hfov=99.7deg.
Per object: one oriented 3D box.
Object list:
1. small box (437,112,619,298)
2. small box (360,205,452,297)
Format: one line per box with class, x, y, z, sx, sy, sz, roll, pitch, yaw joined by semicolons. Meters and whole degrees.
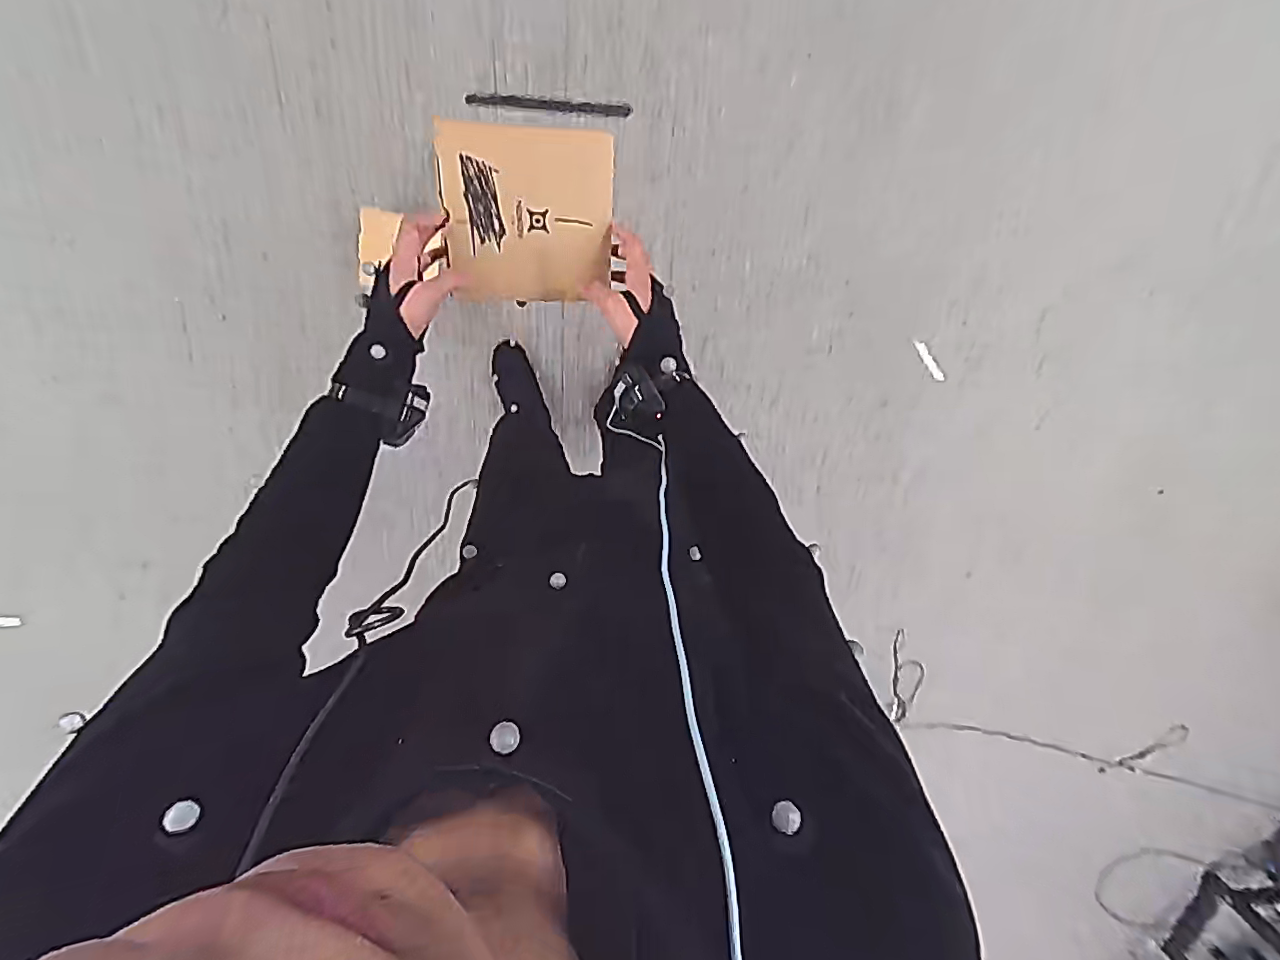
small box;-0.125;-0.312;0.628;0.179;0.176;0.168;-3;118;-12
small box;-0.547;-0.544;1.296;0.179;0.176;0.168;9;109;-9
